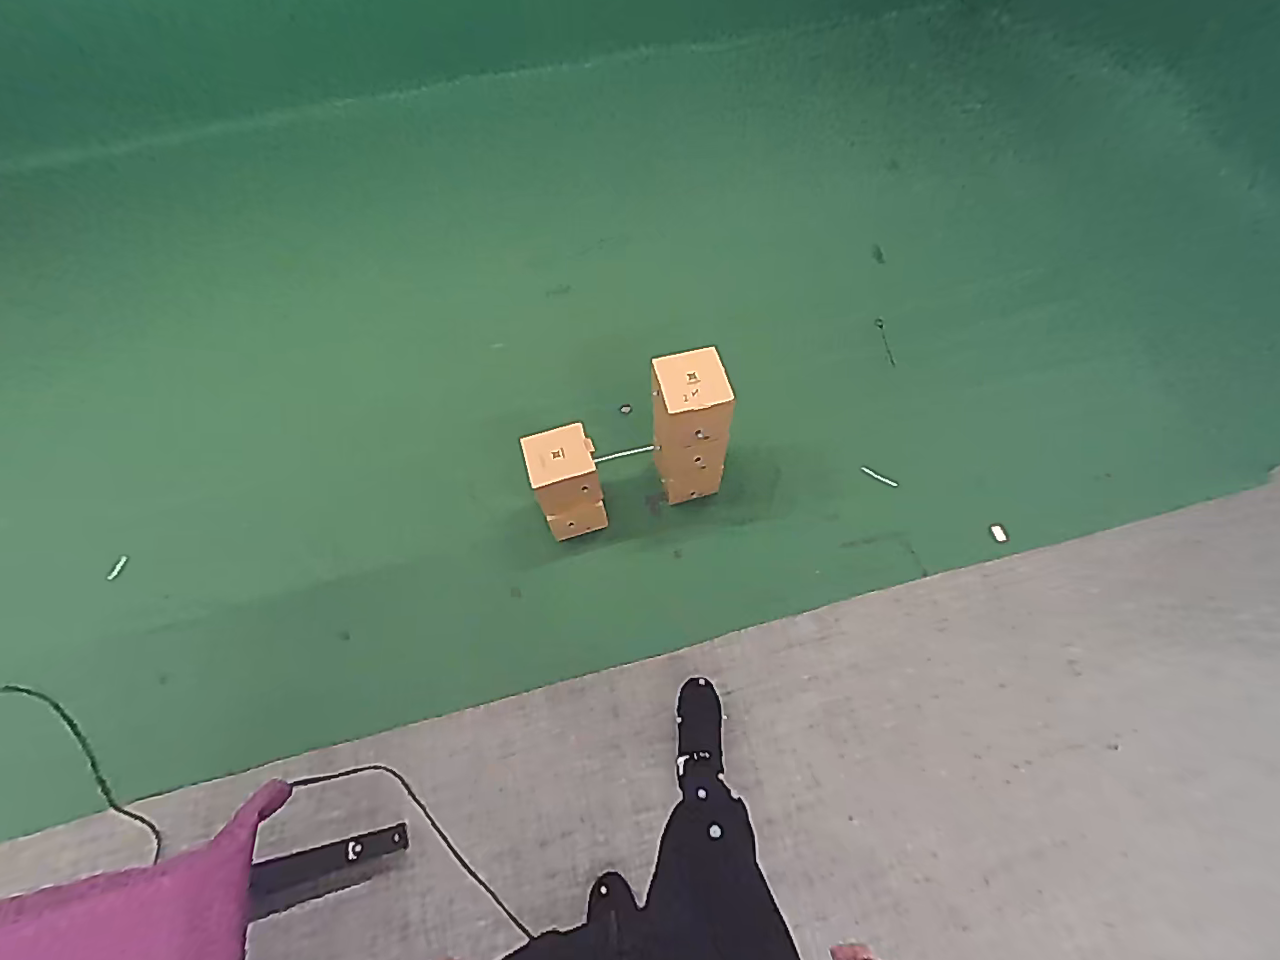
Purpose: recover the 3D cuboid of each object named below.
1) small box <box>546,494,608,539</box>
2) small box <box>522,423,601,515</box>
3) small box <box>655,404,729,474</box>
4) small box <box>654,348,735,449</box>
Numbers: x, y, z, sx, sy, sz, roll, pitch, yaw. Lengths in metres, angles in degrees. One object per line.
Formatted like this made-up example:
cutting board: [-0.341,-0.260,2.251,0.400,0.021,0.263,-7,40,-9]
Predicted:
small box: [-0.200,0.063,1.634,0.168,0.176,0.179,-17,62,-6]
small box: [-0.211,-0.026,1.498,0.179,0.176,0.168,-17,62,-6]
small box: [0.142,-0.130,1.533,0.168,0.176,0.179,-13,64,-6]
small box: [0.133,-0.206,1.388,0.168,0.176,0.179,-13,64,-4]
